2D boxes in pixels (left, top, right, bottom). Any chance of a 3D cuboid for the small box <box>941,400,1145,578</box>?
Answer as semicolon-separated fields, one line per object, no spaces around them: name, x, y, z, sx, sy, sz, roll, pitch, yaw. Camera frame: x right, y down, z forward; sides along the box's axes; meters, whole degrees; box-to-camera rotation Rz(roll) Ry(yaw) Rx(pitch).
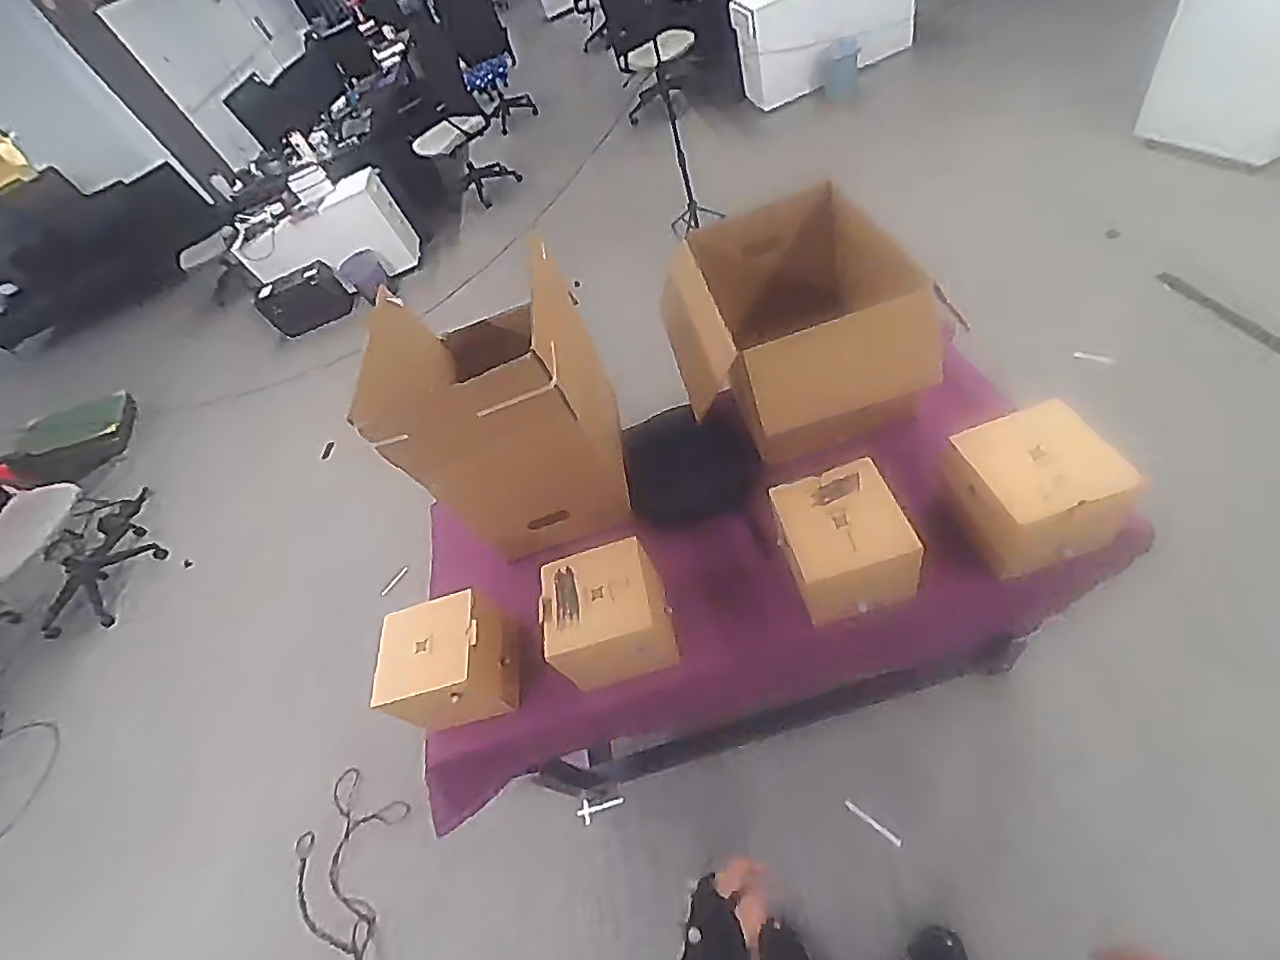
small box;0.581;0.018;0.814;0.168;0.176;0.179;-21;49;8

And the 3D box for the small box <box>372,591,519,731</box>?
small box;-0.332;0.326;0.956;0.179;0.176;0.168;-18;49;7
